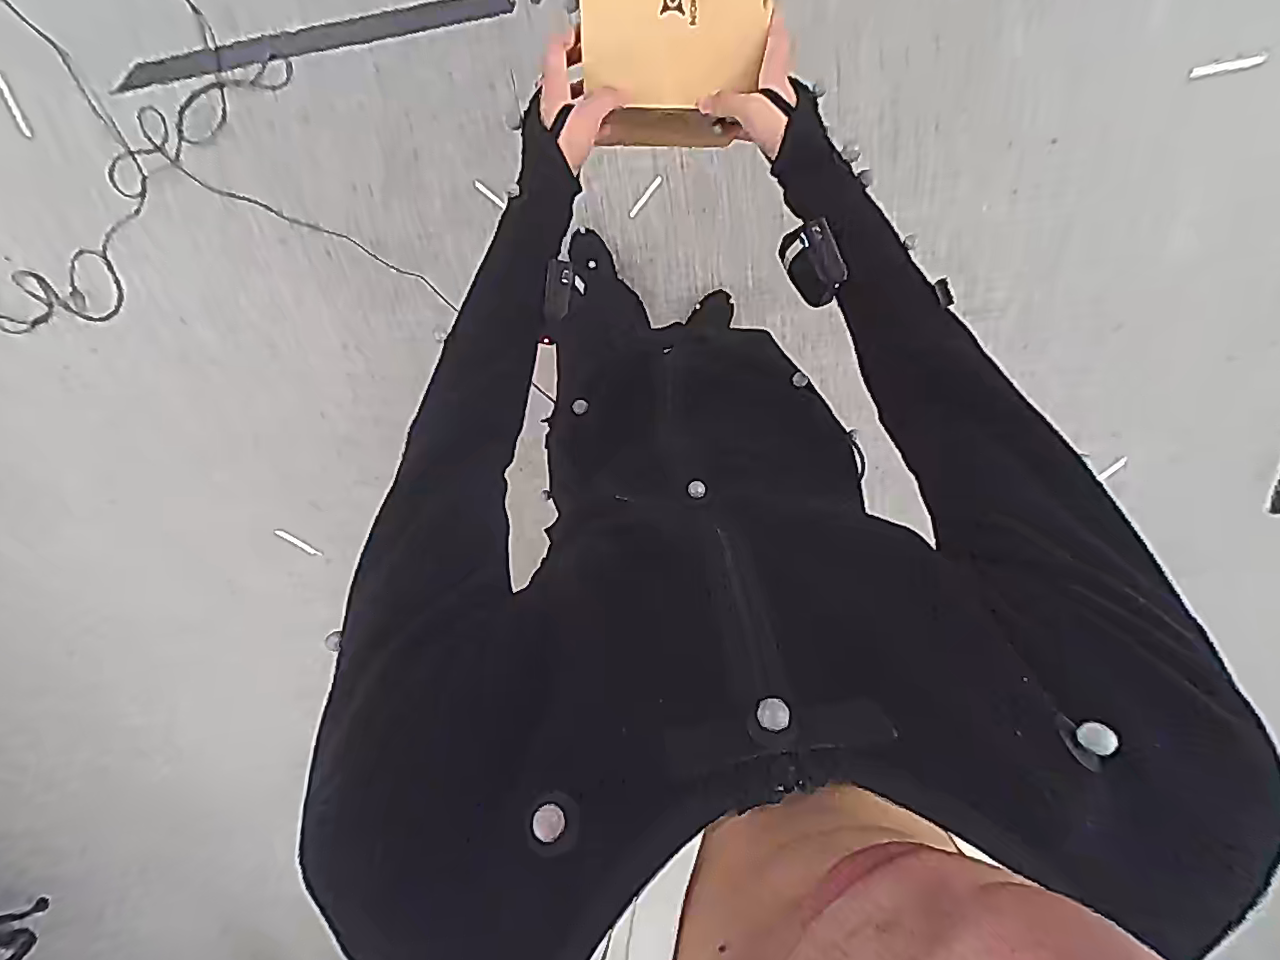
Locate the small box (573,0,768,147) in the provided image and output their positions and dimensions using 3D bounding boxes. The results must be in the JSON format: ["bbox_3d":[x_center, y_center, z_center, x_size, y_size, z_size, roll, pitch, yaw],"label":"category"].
[{"bbox_3d":[0.021,-0.451,0.551,0.179,0.176,0.168,-3,112,-6],"label":"small box"}]
